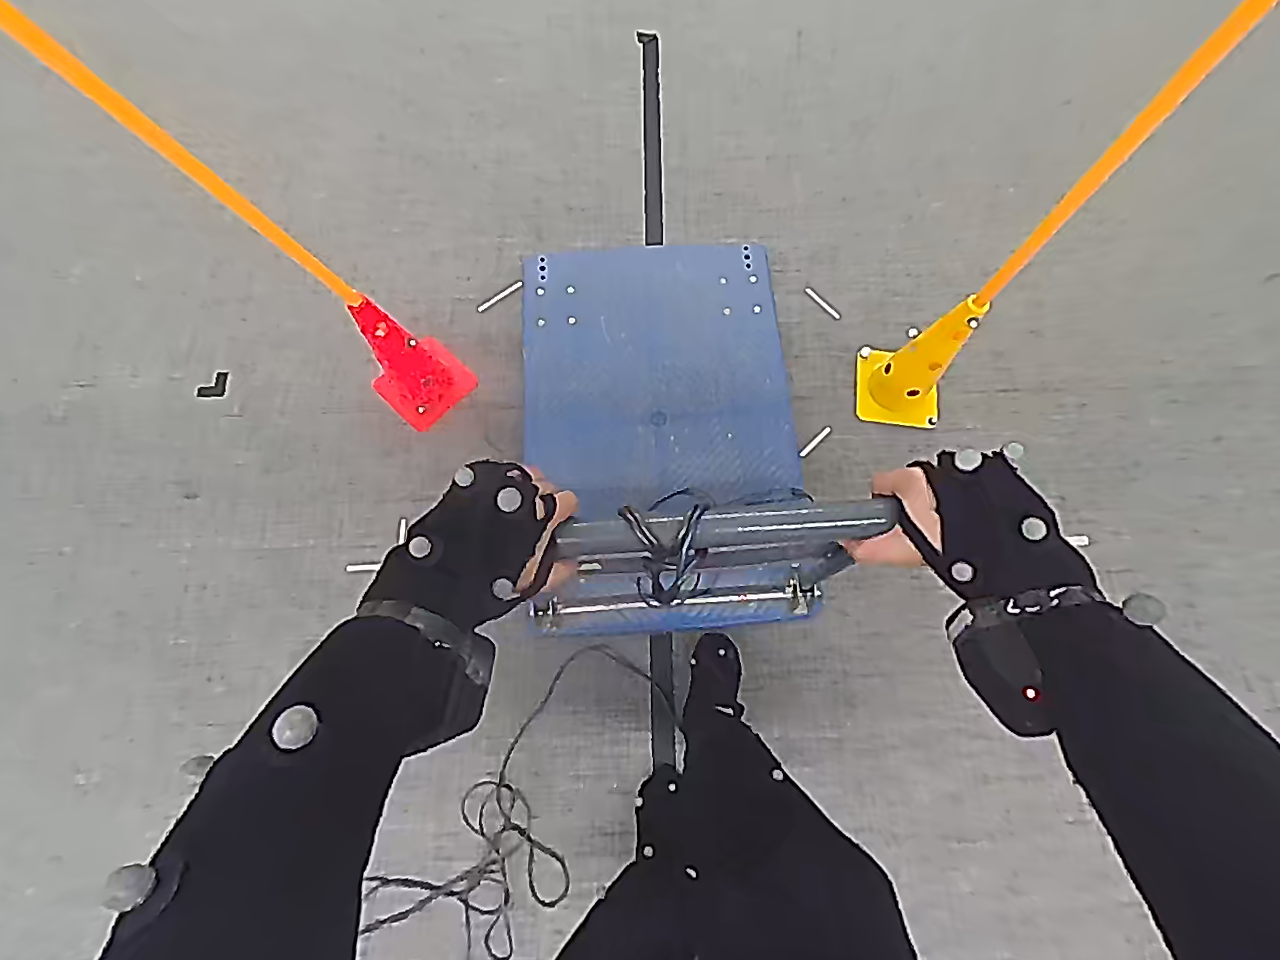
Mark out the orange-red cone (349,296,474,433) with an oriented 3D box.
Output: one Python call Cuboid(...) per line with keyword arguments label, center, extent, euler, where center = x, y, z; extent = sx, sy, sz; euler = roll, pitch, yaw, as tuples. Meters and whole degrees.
Cuboid(label="orange-red cone", center=(-0.540, -0.285, 1.196), extent=(0.198, 0.360, 0.199), euler=(43, 76, 11))
